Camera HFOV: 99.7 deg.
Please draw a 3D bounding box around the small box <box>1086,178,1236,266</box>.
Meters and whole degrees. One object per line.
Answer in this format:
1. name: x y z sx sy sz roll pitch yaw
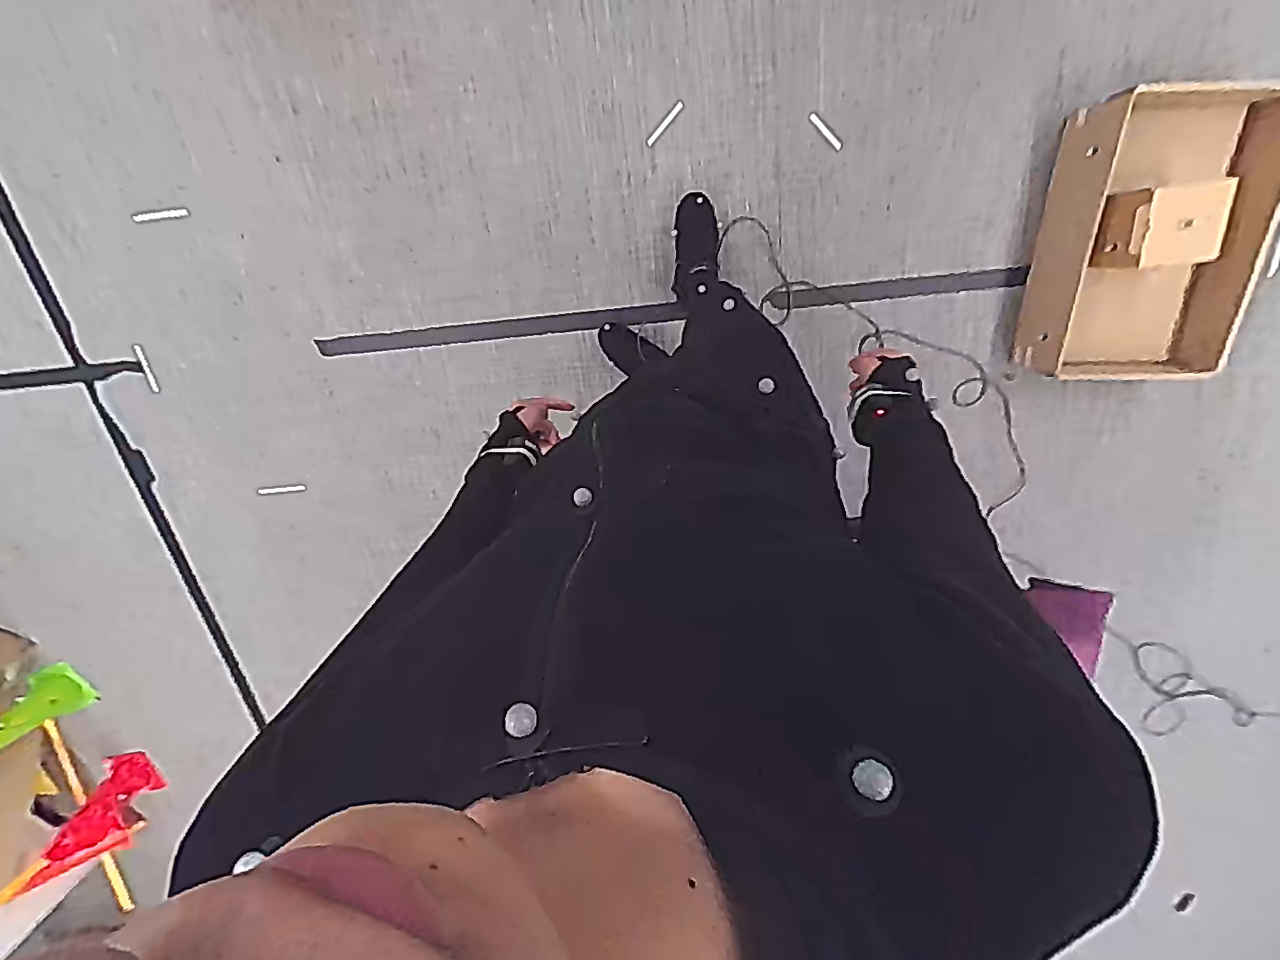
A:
1. small box: 1.203 -0.596 1.268 0.179 0.176 0.168 -5 113 4
